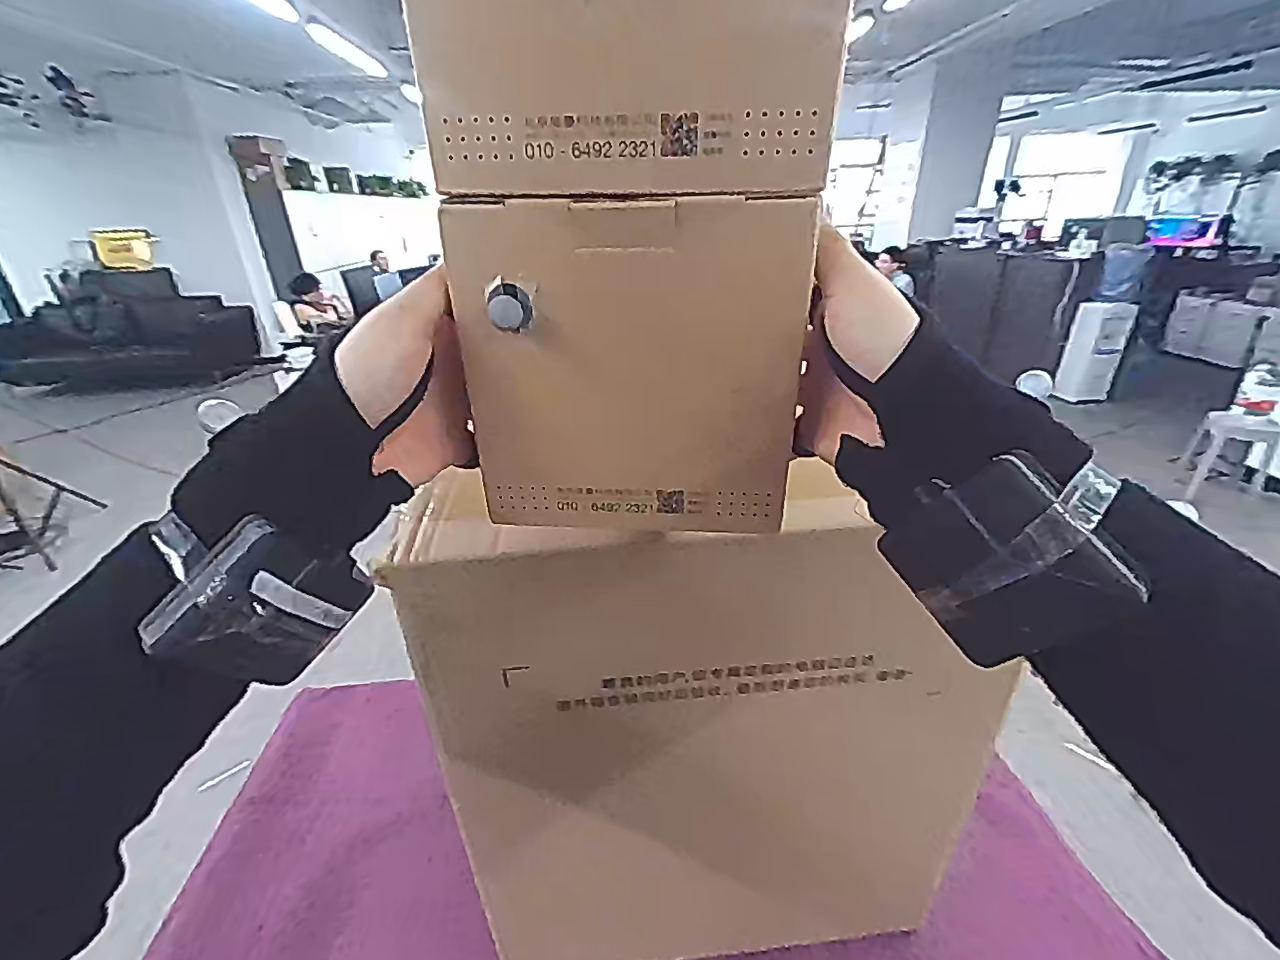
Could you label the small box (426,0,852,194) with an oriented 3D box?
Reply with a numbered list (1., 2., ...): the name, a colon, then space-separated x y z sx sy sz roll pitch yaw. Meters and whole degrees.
1. small box: 0.003 -0.236 0.258 0.168 0.176 0.179 2 28 3
